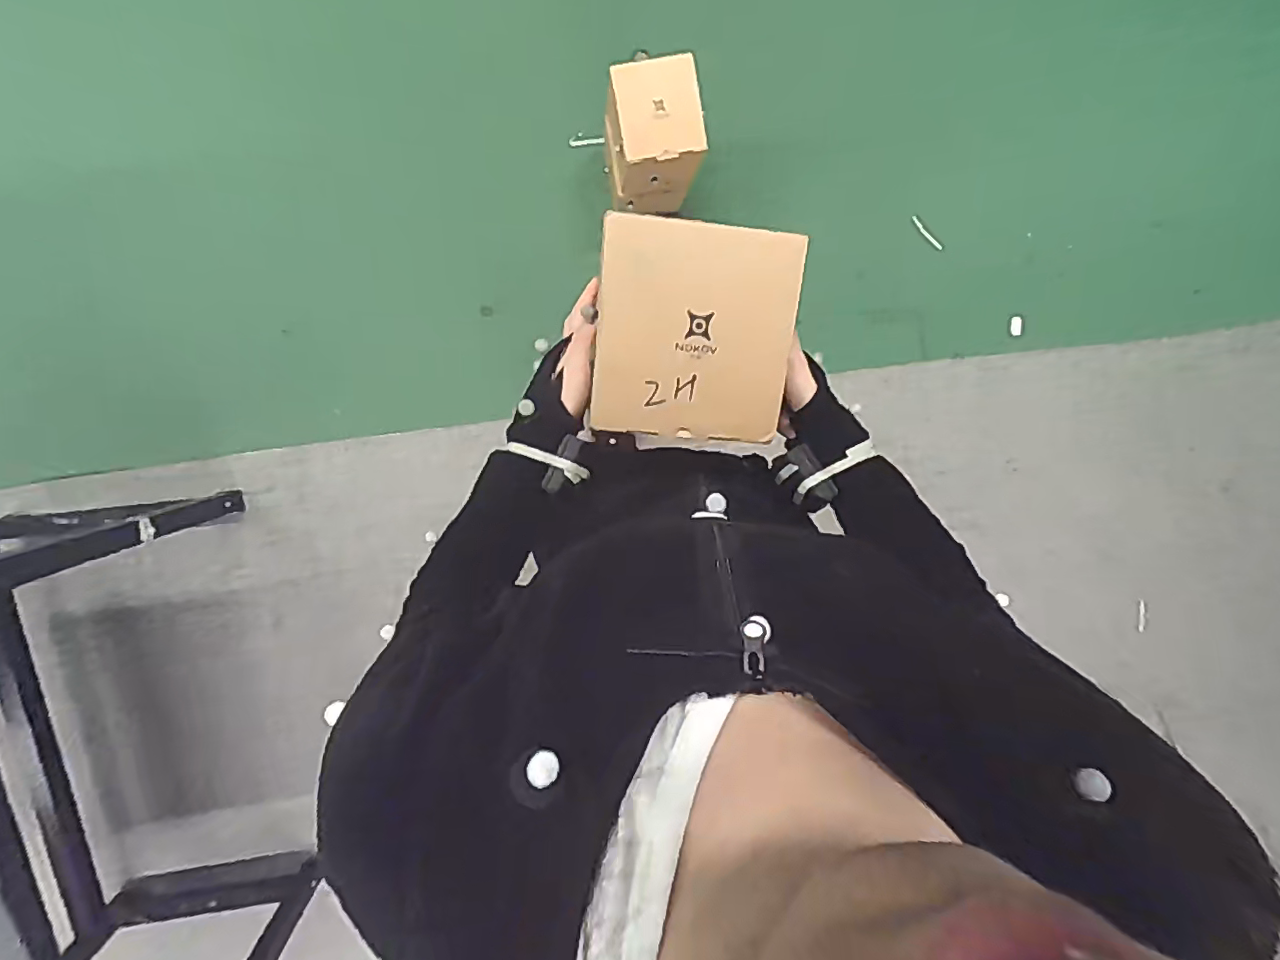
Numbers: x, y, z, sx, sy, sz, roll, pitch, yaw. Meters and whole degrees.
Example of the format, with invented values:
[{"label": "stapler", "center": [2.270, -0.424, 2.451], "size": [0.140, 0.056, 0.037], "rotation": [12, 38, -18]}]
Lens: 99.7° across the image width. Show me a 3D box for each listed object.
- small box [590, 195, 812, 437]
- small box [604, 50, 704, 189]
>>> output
[{"label": "small box", "center": [0.041, -0.149, 0.521], "size": [0.168, 0.176, 0.179], "rotation": [5, 105, -6]}, {"label": "small box", "center": [0.022, -0.736, 1.120], "size": [0.168, 0.176, 0.179], "rotation": [-12, 100, -4]}]
